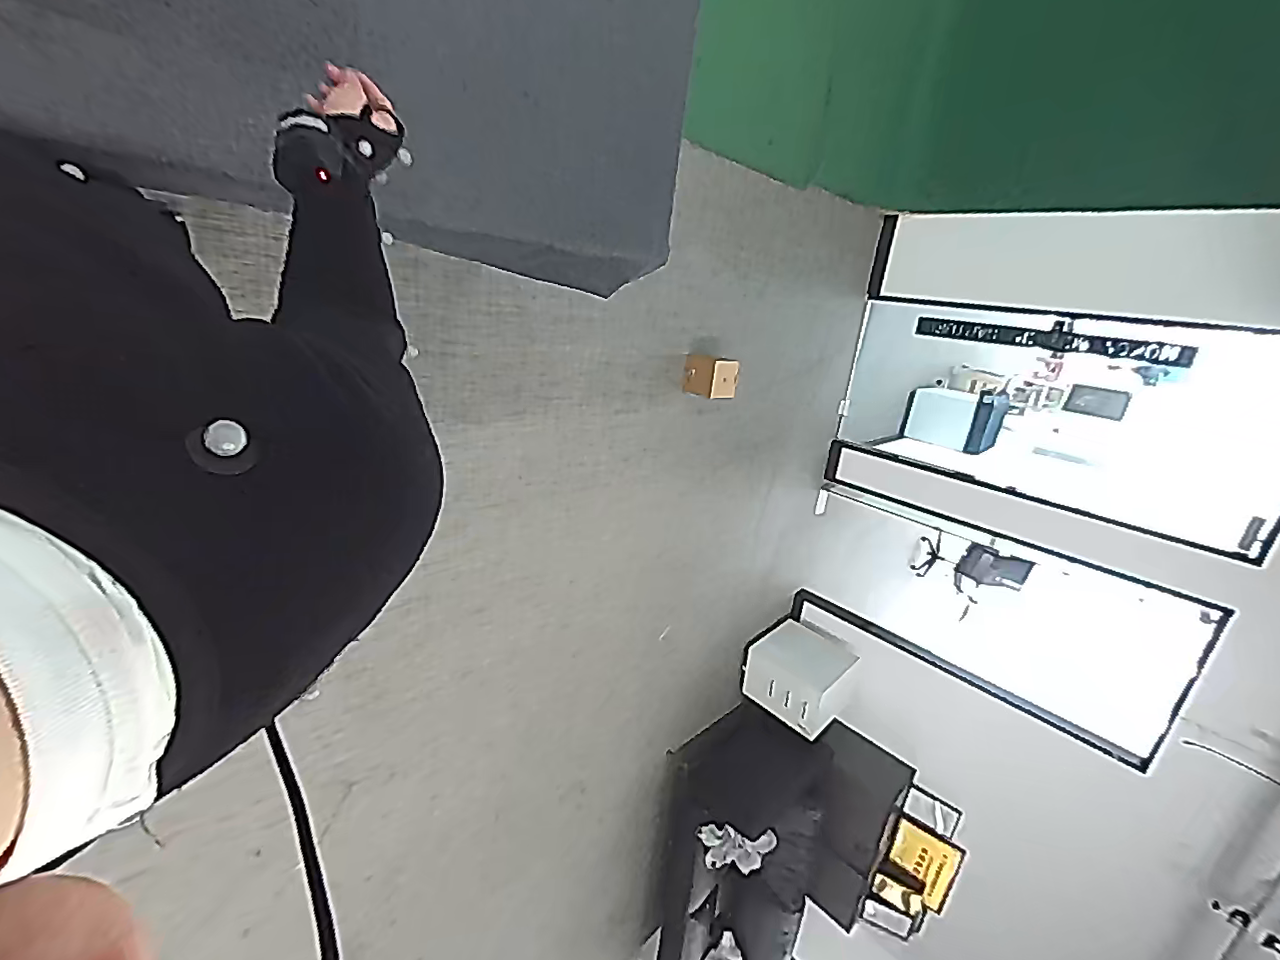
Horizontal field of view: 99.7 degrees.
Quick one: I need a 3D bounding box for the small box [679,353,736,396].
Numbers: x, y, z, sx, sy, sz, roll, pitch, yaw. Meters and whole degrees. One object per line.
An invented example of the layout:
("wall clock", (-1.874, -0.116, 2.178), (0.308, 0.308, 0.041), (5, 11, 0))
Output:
("small box", (0.300, -0.471, 2.414), (0.179, 0.176, 0.168), (-8, 113, -45))
